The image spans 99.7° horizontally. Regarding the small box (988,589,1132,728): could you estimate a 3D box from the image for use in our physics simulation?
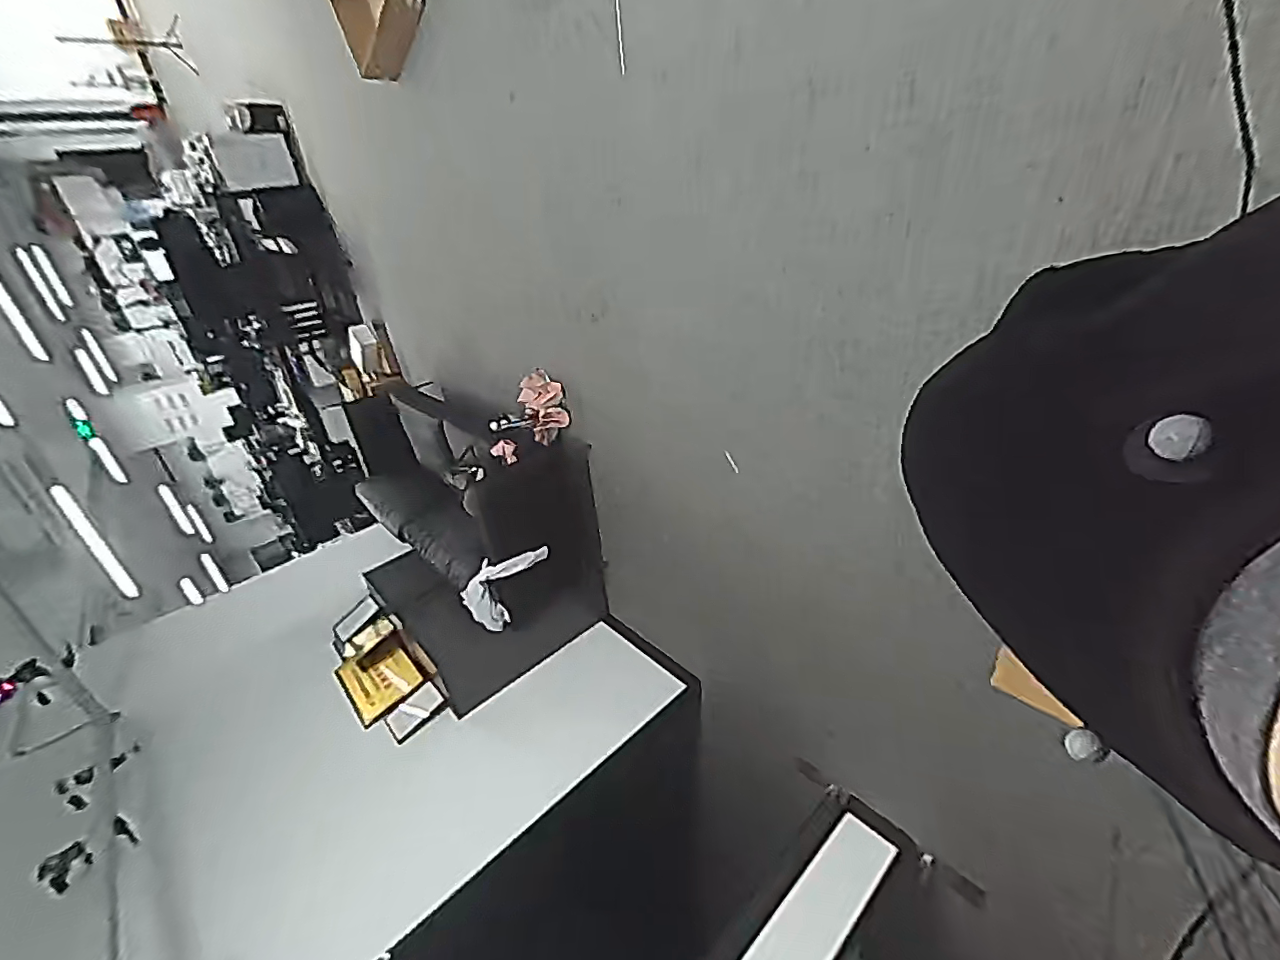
[{"bbox_3d":[0.848,0.349,1.094,0.179,0.176,0.168,25,131,43],"label":"small box"}]
